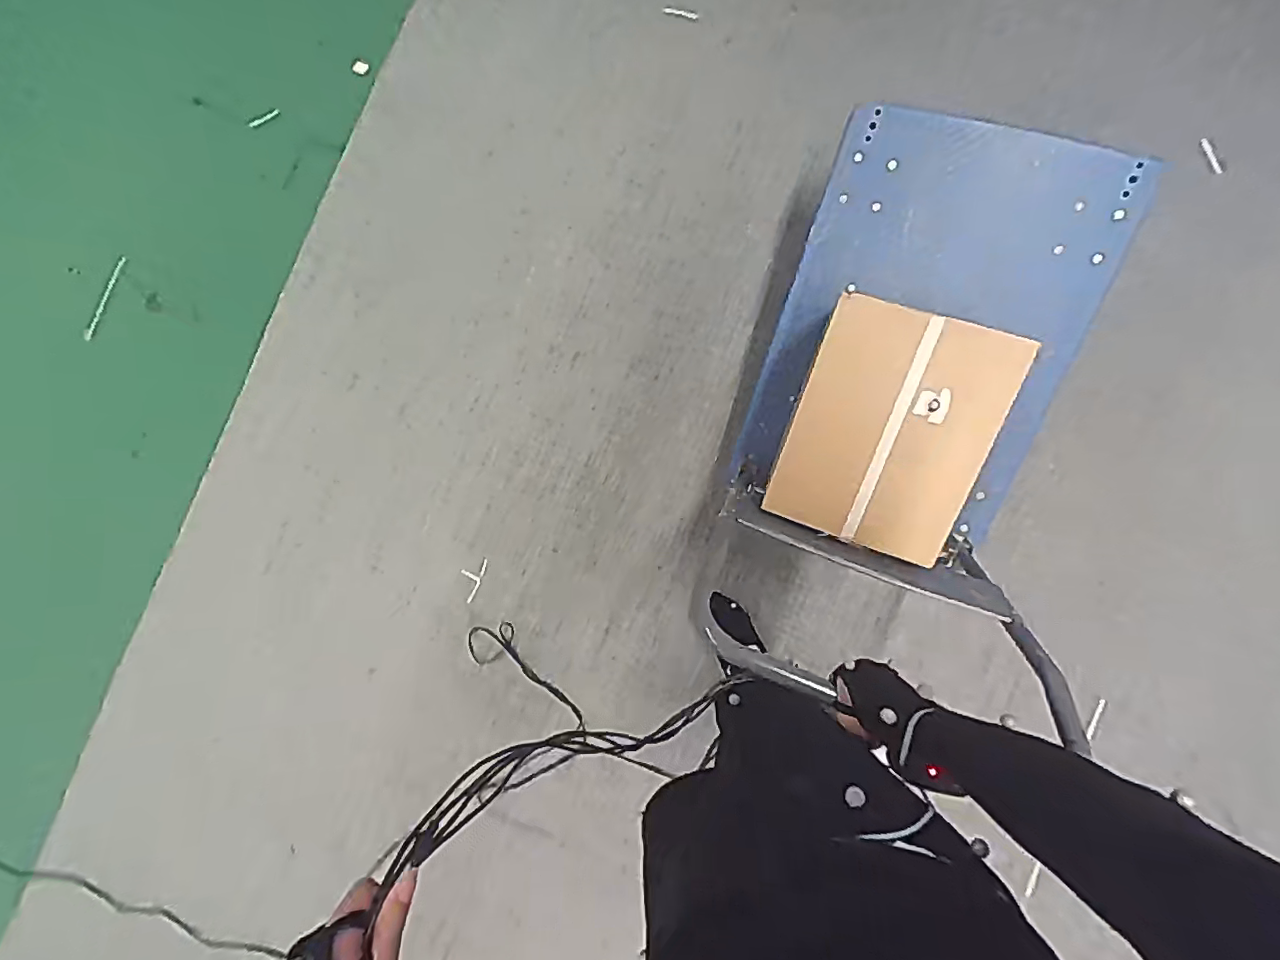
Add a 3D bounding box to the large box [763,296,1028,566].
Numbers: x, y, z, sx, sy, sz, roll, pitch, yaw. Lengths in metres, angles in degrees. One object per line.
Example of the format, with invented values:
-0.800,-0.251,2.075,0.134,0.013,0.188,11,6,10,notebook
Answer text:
0.463,-0.103,1.070,0.320,0.320,0.408,20,105,11,large box
